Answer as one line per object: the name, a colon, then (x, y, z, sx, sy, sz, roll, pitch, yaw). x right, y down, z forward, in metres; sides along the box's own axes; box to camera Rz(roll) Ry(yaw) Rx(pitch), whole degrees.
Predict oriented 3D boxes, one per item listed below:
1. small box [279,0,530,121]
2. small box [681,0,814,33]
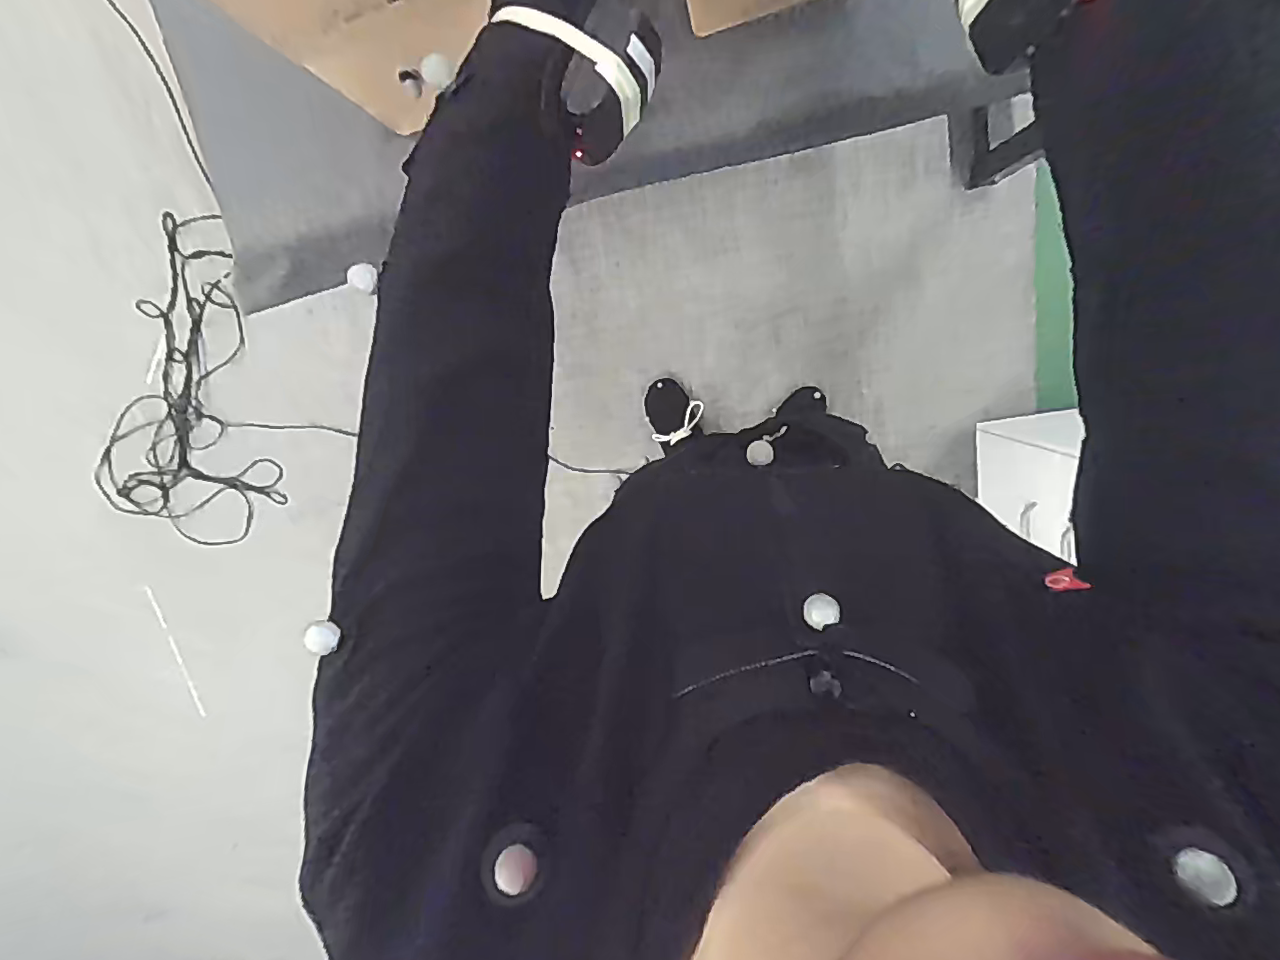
small box: (-0.214, -0.450, 0.474, 0.168, 0.176, 0.179, -14, 101, 9)
small box: (0.099, -0.517, 0.428, 0.168, 0.176, 0.179, -12, 101, 8)
